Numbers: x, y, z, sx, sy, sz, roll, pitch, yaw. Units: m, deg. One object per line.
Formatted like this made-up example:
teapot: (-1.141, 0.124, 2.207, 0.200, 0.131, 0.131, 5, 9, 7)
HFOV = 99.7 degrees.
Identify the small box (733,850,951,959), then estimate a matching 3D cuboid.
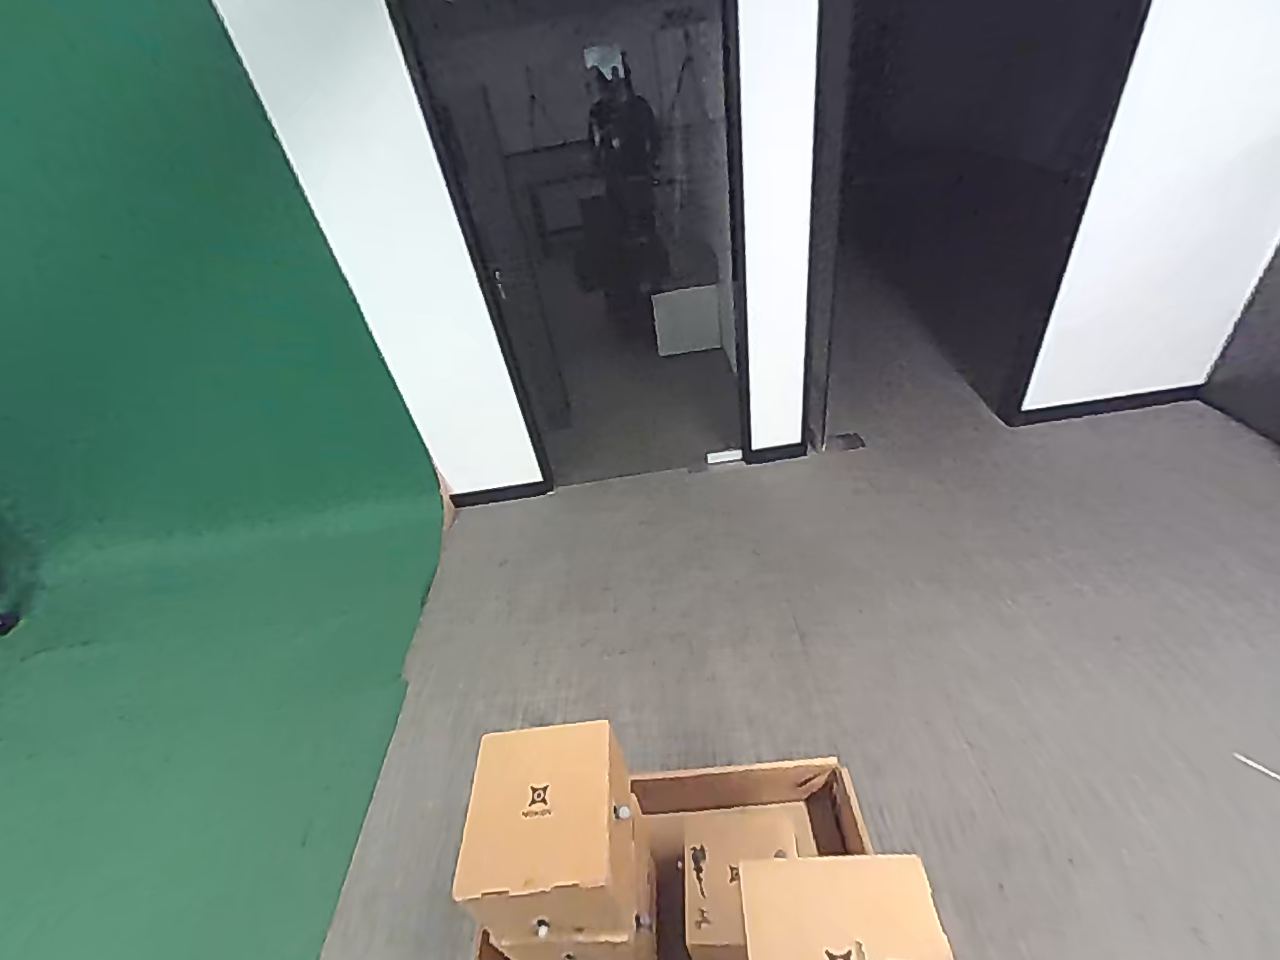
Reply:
small box: (0.187, 0.471, 0.509, 0.179, 0.176, 0.168, -5, 40, 7)

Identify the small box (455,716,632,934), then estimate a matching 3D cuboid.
small box: (-0.104, 0.423, 0.667, 0.168, 0.176, 0.179, -8, 38, 3)
